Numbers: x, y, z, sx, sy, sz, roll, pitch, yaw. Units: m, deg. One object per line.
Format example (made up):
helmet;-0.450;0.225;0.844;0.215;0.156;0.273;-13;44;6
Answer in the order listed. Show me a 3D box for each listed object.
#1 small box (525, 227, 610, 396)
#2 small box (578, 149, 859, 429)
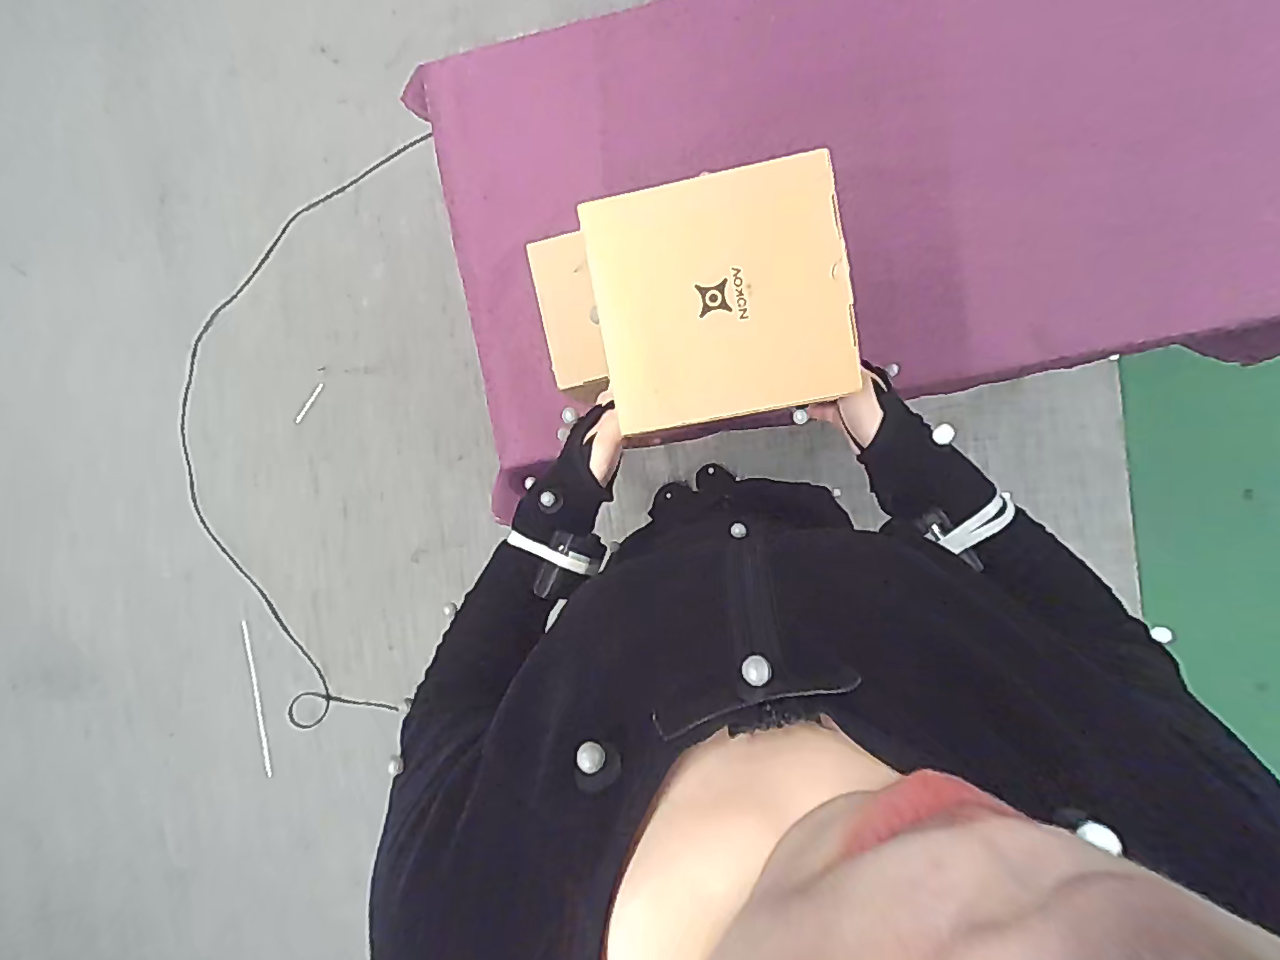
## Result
small box;-0.031;-0.211;0.699;0.168;0.176;0.179;-12;90;4
small box;0.060;-0.137;0.456;0.179;0.176;0.168;-10;95;4
